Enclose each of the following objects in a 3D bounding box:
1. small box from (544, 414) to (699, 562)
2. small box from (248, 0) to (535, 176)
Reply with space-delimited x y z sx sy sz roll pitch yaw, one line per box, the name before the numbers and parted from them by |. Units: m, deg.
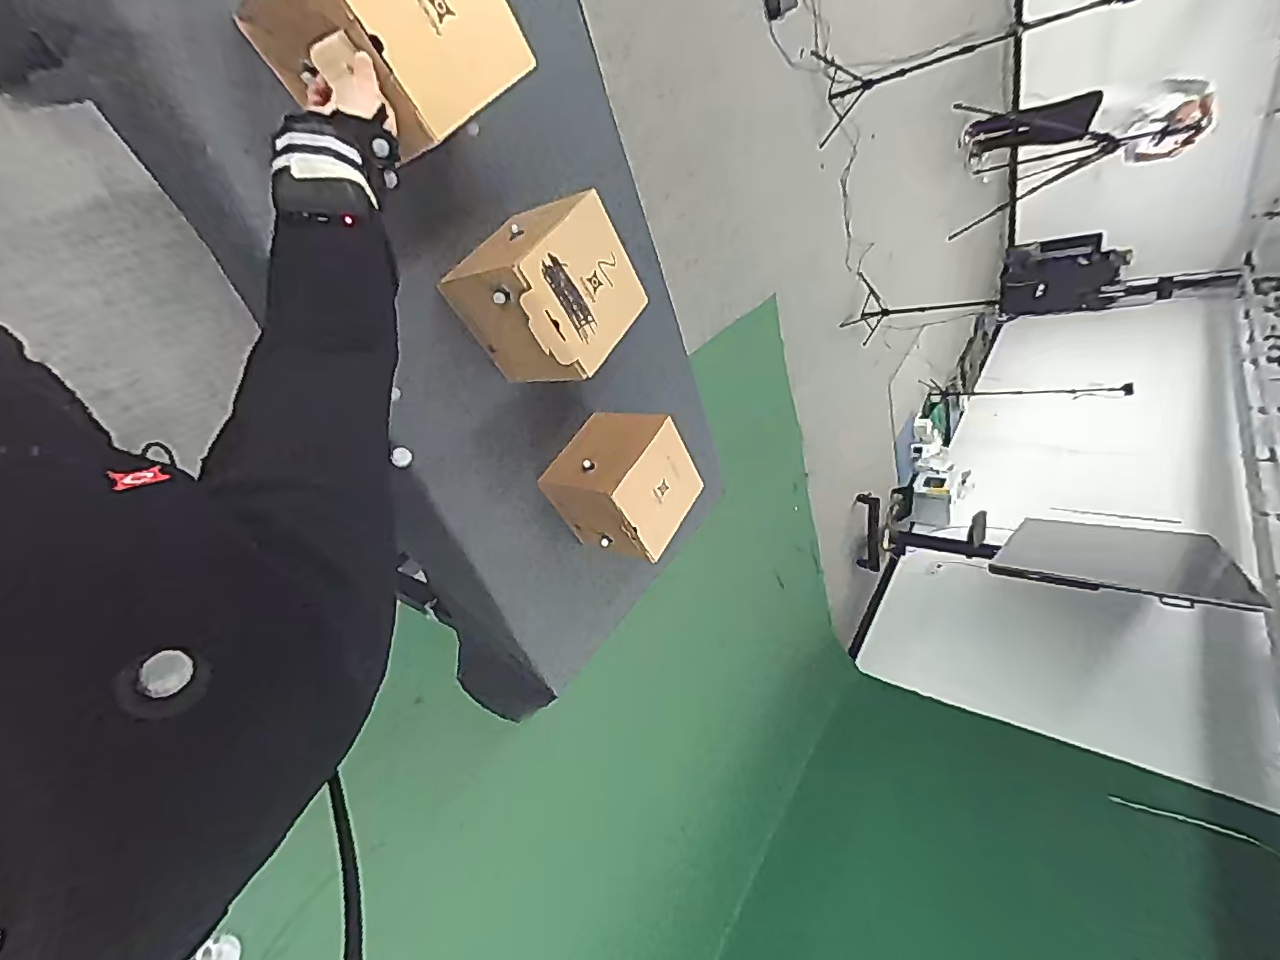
small box | -0.034 0.007 0.898 0.179 0.176 0.168 -56 135 -29
small box | -0.250 -0.449 0.556 0.179 0.176 0.168 -58 136 -25
